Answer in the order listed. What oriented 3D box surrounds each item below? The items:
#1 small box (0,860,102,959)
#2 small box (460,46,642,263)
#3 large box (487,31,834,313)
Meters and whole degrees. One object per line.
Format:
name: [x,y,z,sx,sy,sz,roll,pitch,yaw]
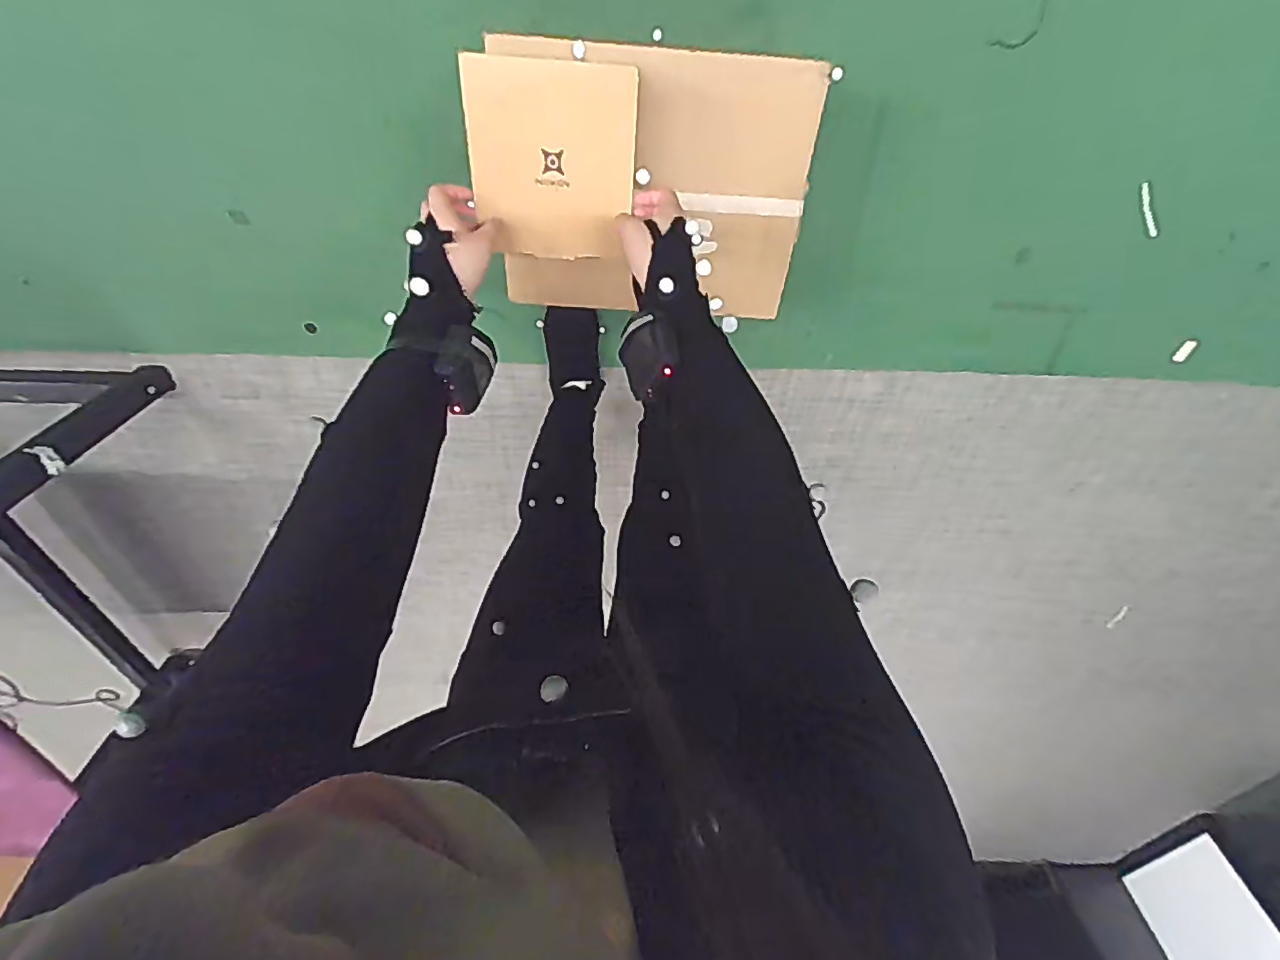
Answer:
small box: [-1.199,0.836,1.016,0.179,0.176,0.168,1,129,1]
small box: [-0.087,-0.358,0.595,0.168,0.176,0.179,3,128,-3]
large box: [0.015,-0.466,0.821,0.408,0.320,0.320,2,129,-3]
